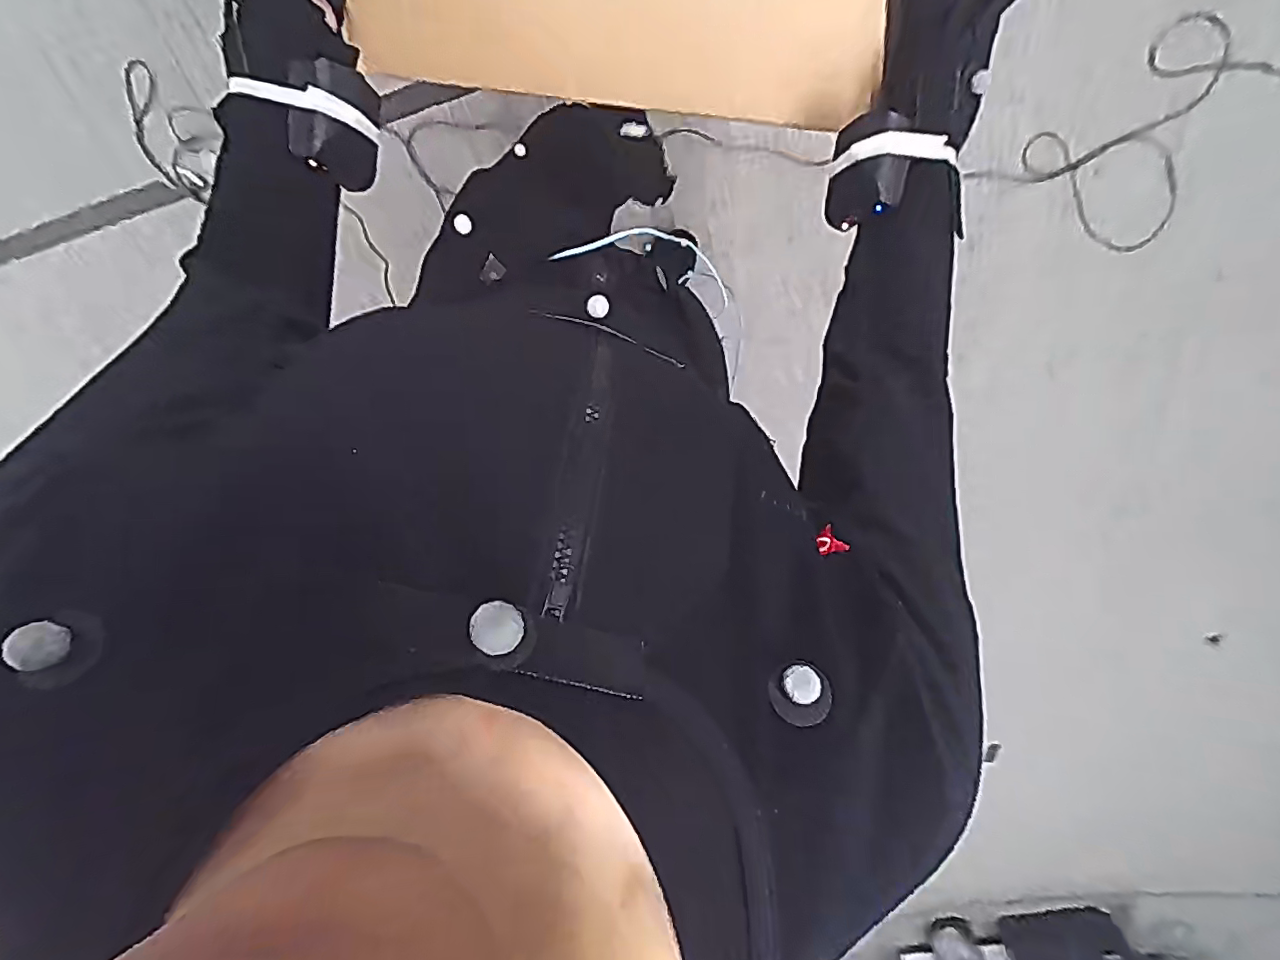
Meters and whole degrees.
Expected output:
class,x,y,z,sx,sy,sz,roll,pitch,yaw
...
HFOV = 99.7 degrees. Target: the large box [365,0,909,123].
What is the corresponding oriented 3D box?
class,x,y,z,sx,sy,sz,roll,pitch,yaw
large box,0.005,-0.515,0.446,0.408,0.320,0.320,4,132,-3
